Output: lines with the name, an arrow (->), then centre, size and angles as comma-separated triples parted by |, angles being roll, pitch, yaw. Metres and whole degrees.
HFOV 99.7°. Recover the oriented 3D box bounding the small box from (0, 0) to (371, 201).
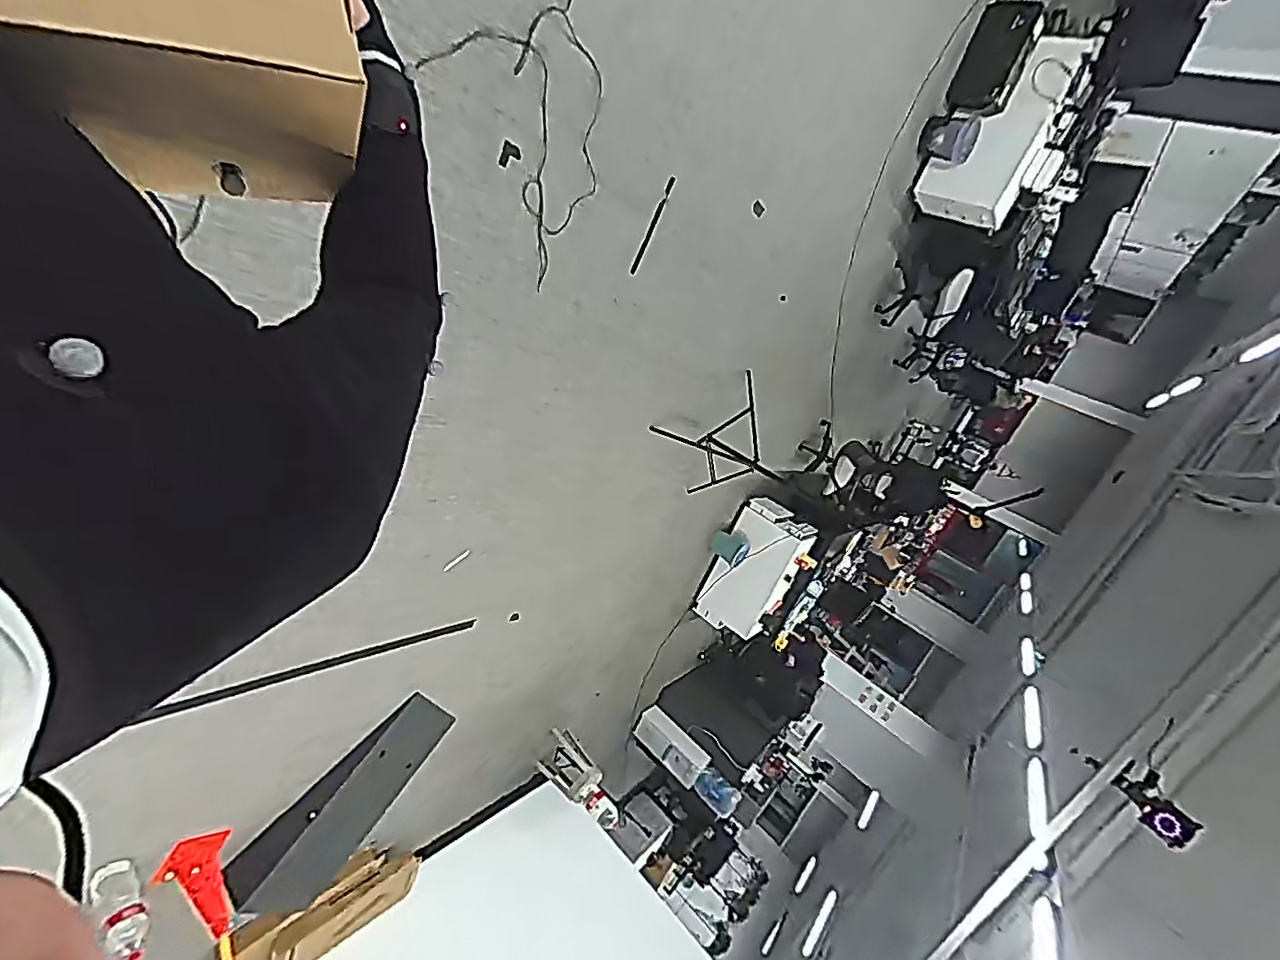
small box -> -0.313, -0.323, 0.386 | 0.179, 0.176, 0.168 | -13, 94, -33
